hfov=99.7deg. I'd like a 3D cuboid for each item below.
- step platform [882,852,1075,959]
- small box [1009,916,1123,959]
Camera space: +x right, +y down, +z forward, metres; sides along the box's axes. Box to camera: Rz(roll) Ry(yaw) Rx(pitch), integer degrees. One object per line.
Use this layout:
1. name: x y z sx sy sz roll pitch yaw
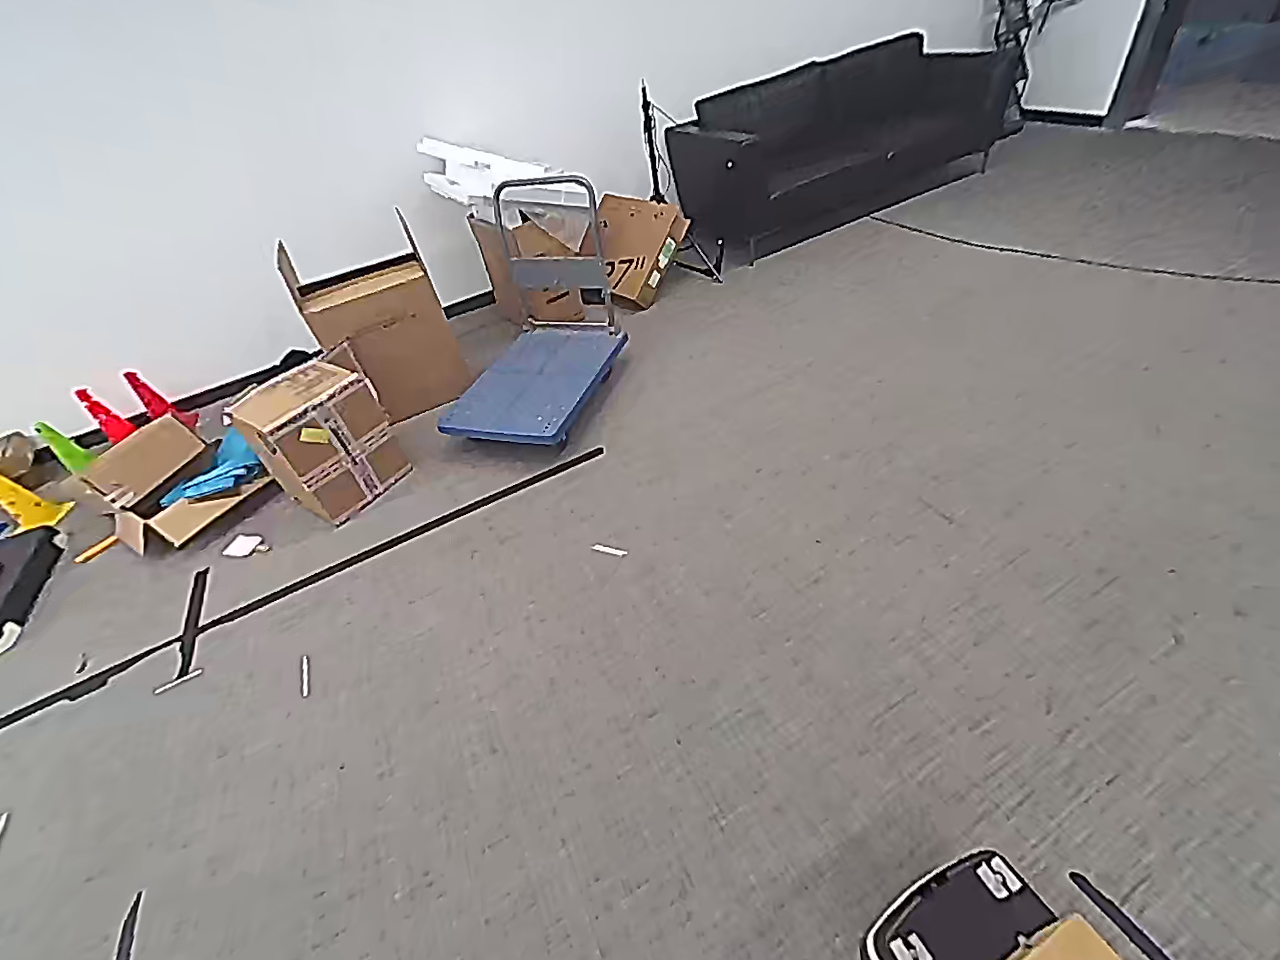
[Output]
1. step platform: 0.690 0.933 0.751 0.286 0.204 0.684 -25 42 -15
2. small box: 0.584 0.740 0.728 0.179 0.176 0.168 -25 42 -14
